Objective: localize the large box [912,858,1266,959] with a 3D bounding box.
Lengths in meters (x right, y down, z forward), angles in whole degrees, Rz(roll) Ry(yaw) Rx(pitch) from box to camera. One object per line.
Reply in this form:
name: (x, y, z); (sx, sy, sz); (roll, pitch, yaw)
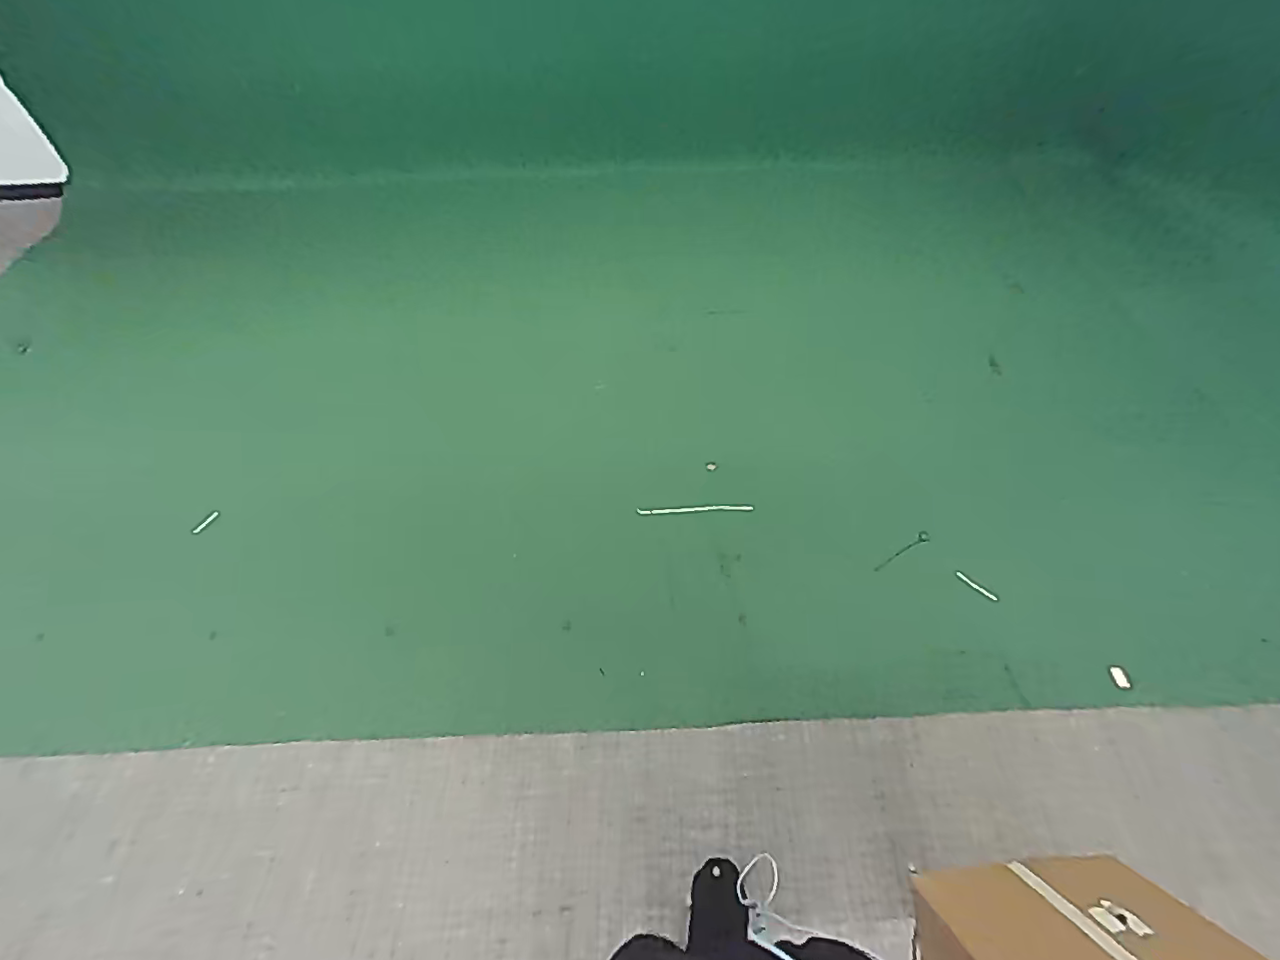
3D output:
large box: (0.577, 0.709, 0.601); (0.320, 0.408, 0.320); (-5, 82, 0)
